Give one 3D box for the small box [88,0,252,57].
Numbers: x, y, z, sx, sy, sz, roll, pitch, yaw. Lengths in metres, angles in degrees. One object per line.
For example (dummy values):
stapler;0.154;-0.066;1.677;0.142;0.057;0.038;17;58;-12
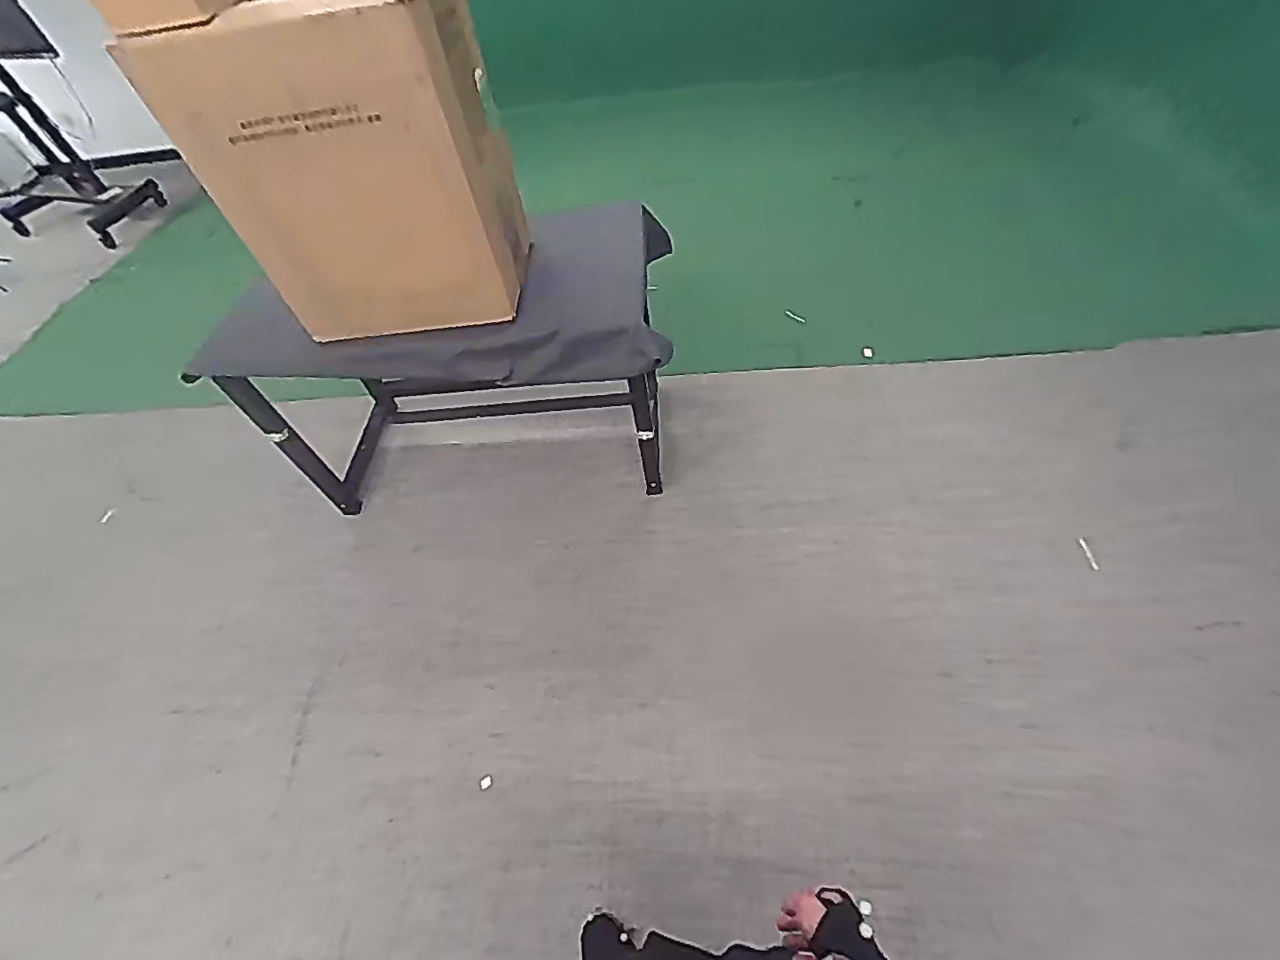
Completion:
small box;-0.827;-0.856;0.922;0.179;0.176;0.168;-7;53;7
